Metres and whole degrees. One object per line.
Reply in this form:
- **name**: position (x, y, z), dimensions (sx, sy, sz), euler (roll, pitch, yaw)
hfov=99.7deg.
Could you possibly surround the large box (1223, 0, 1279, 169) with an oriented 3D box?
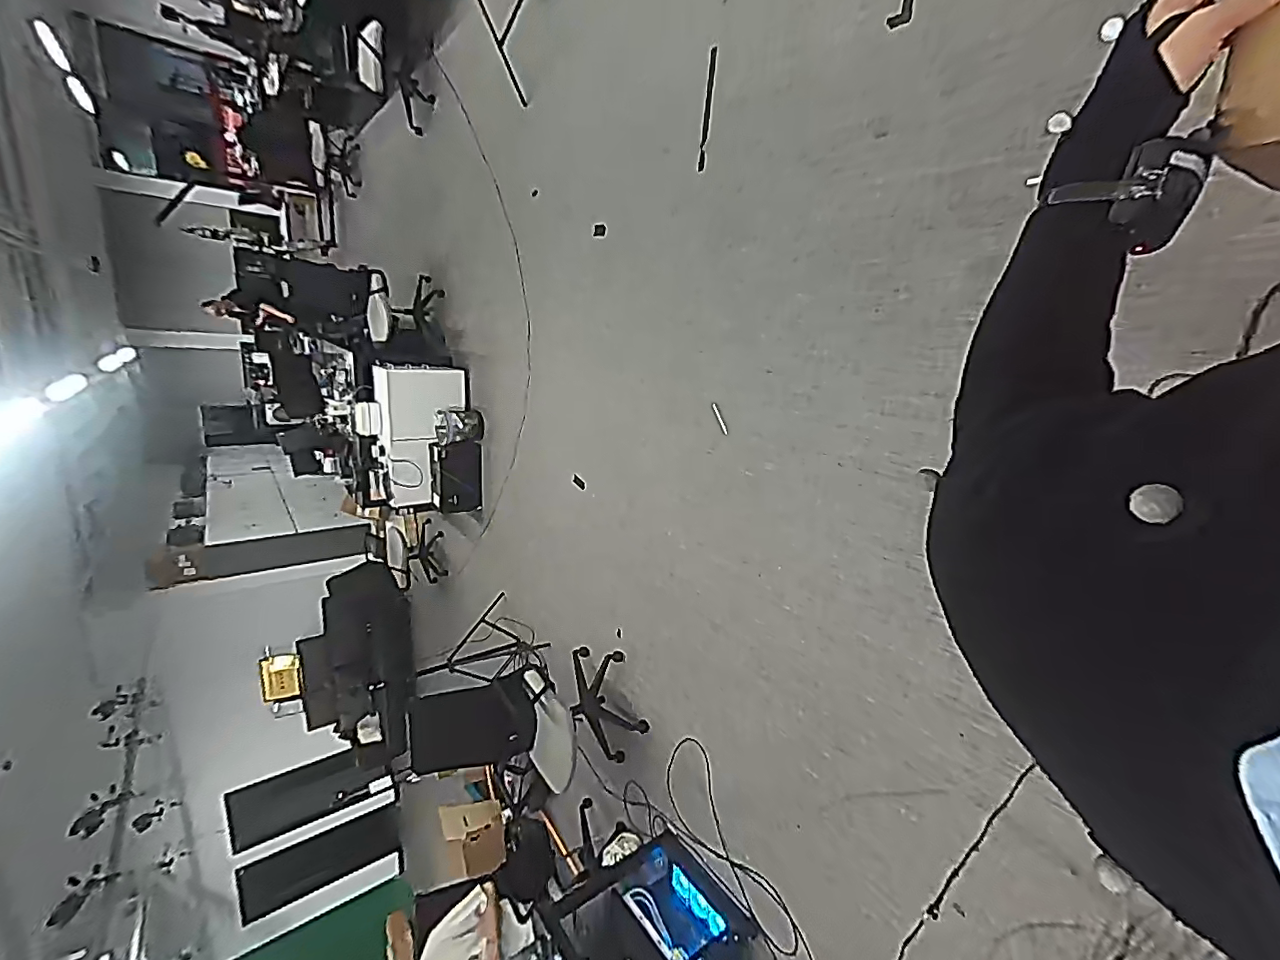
- **large box**: position (0.651, -0.378, 0.270), dimensions (0.408, 0.320, 0.320), euler (20, 116, 55)
